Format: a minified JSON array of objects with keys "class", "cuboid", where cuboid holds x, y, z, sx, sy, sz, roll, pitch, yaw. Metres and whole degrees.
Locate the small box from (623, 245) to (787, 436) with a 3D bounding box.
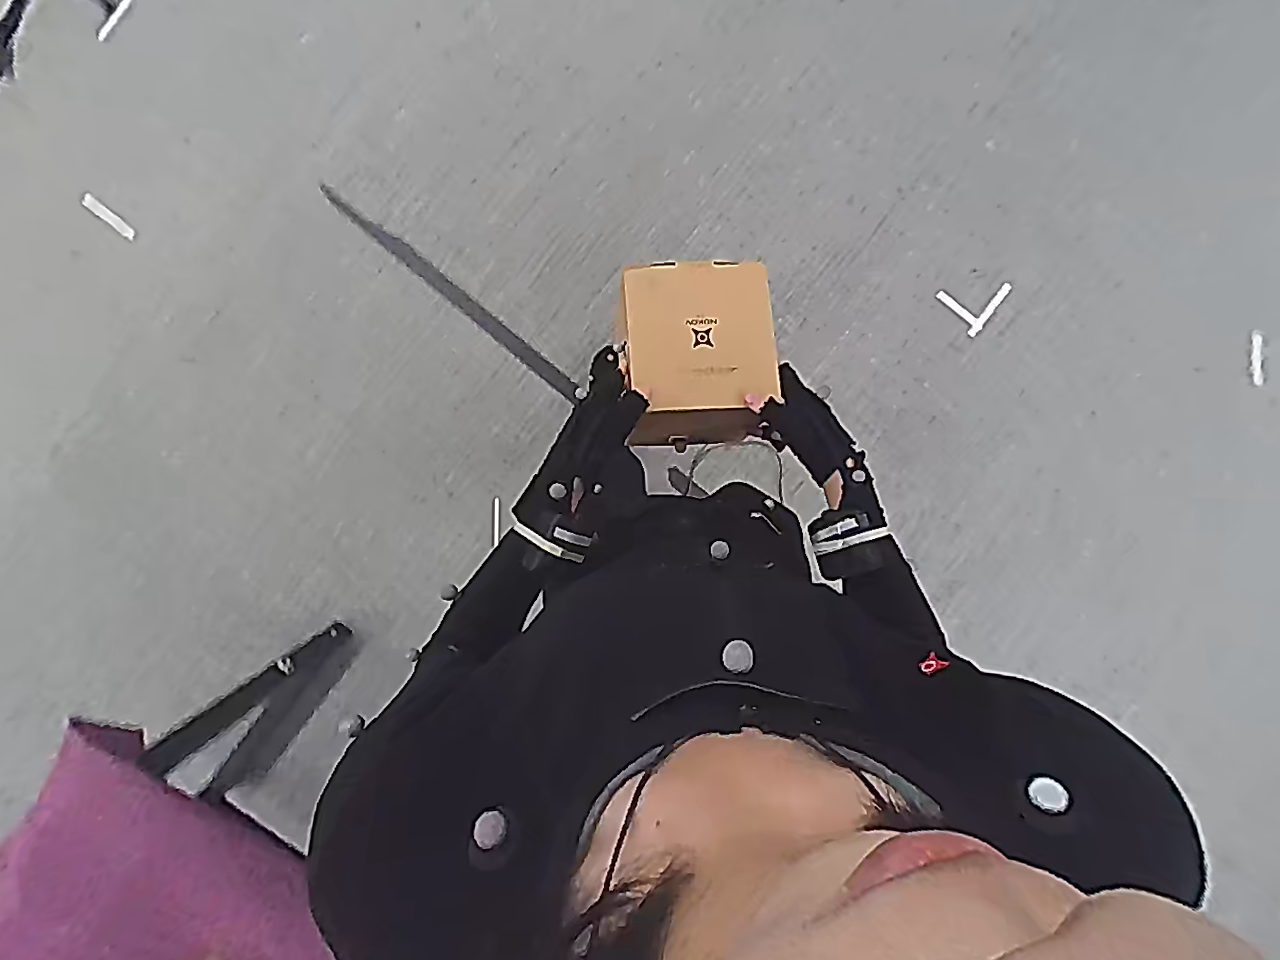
[{"class":"small box","cuboid":[0.067,-0.161,0.663,0.168,0.176,0.179,-3,80,-4]}]
